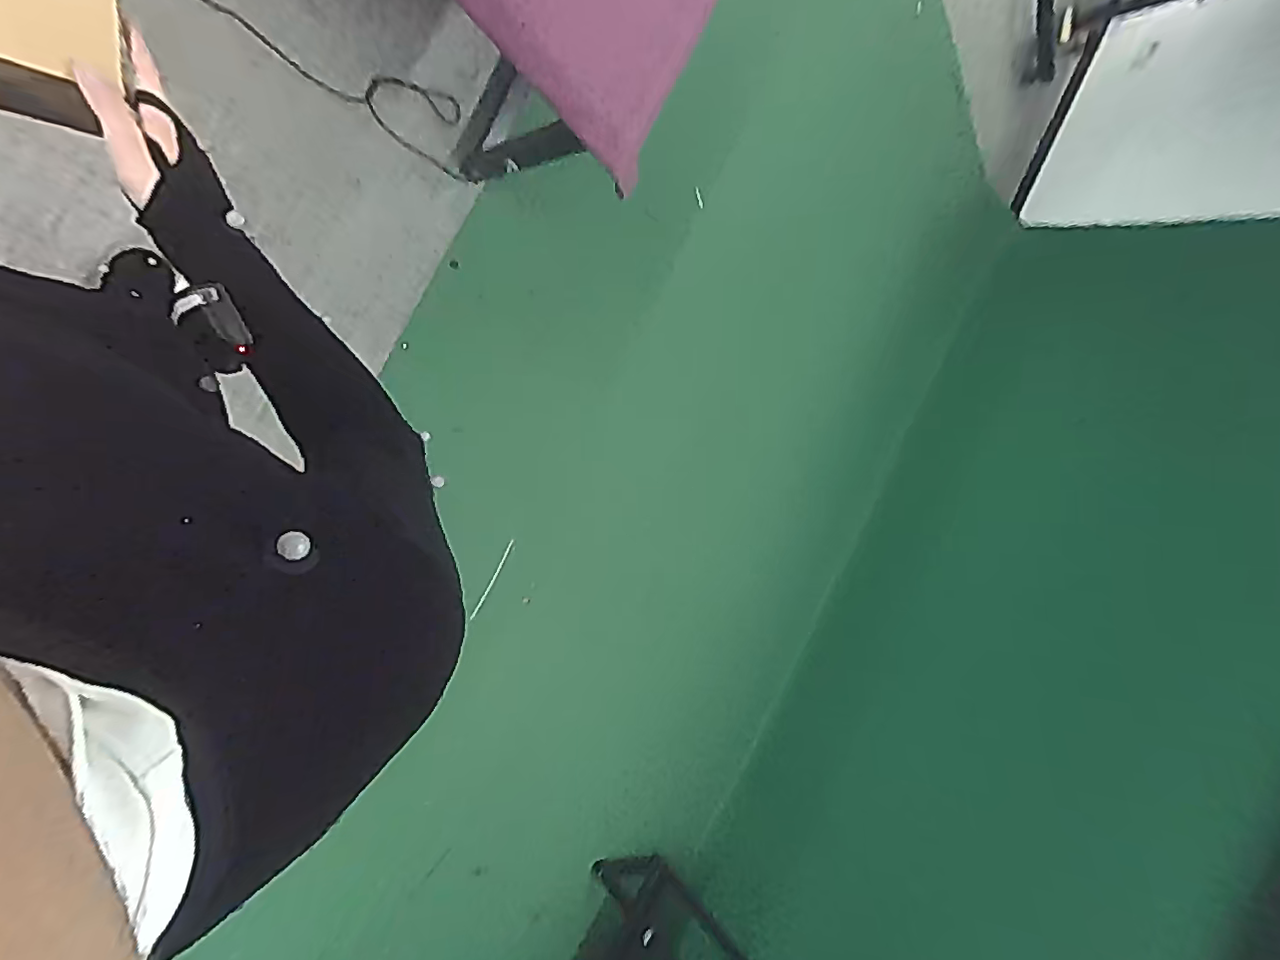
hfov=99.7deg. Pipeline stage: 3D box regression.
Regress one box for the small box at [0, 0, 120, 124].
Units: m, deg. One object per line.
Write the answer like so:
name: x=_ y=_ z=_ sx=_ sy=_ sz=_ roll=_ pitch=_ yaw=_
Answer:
small box: x=-0.524 y=-0.404 z=0.412 sx=0.179 sy=0.176 sz=0.168 roll=-6 pitch=107 yaw=-45
